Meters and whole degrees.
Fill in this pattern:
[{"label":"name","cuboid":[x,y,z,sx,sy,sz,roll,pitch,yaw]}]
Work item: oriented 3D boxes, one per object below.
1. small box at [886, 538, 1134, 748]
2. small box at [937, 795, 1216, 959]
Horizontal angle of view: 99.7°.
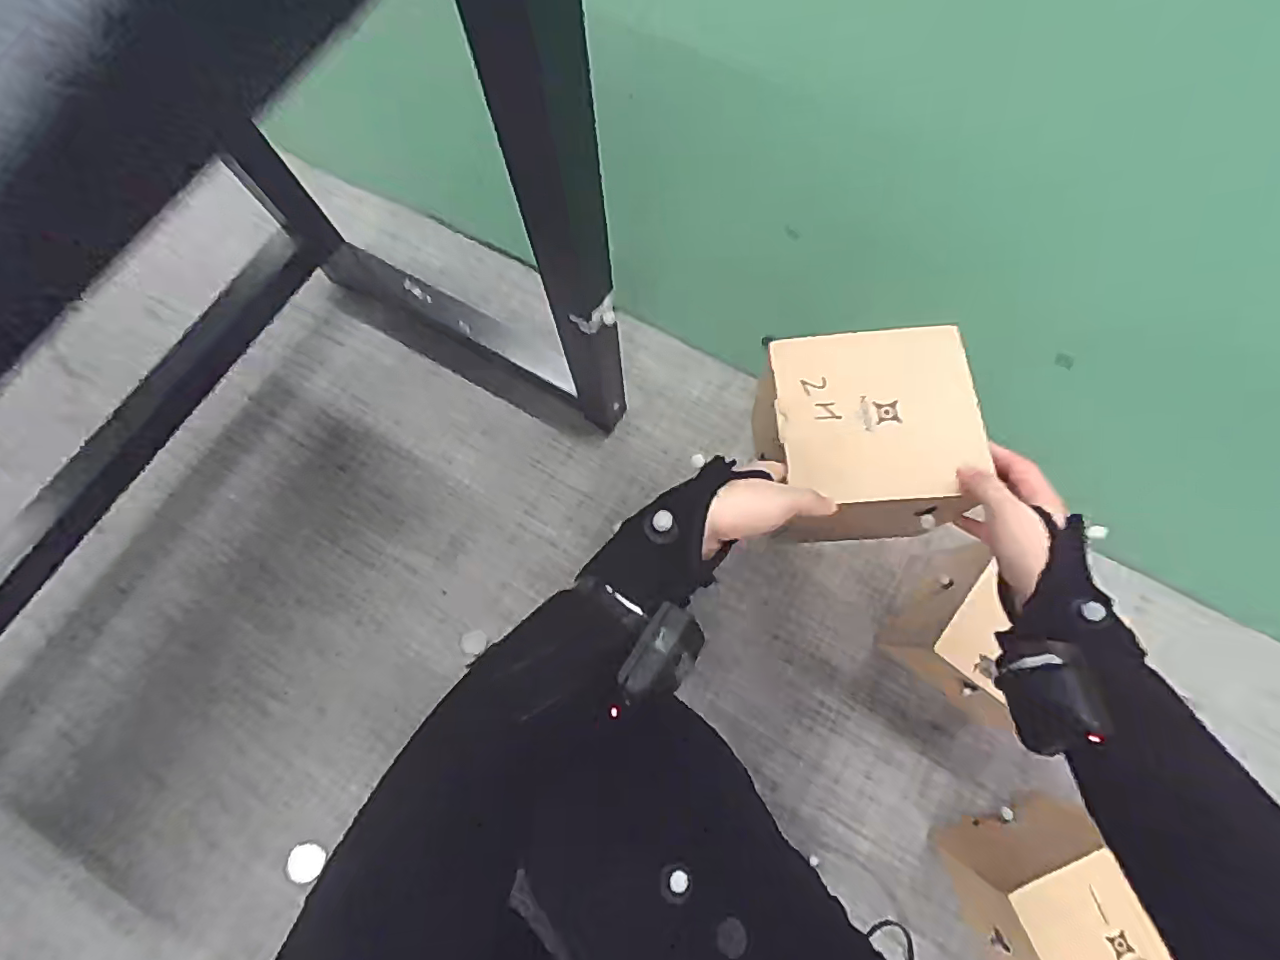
[{"label":"small box","cuboid":[0.455,0.201,0.696,0.168,0.176,0.179,39,79,10]},{"label":"small box","cuboid":[0.486,0.497,0.615,0.168,0.176,0.179,-21,74,-4]}]
